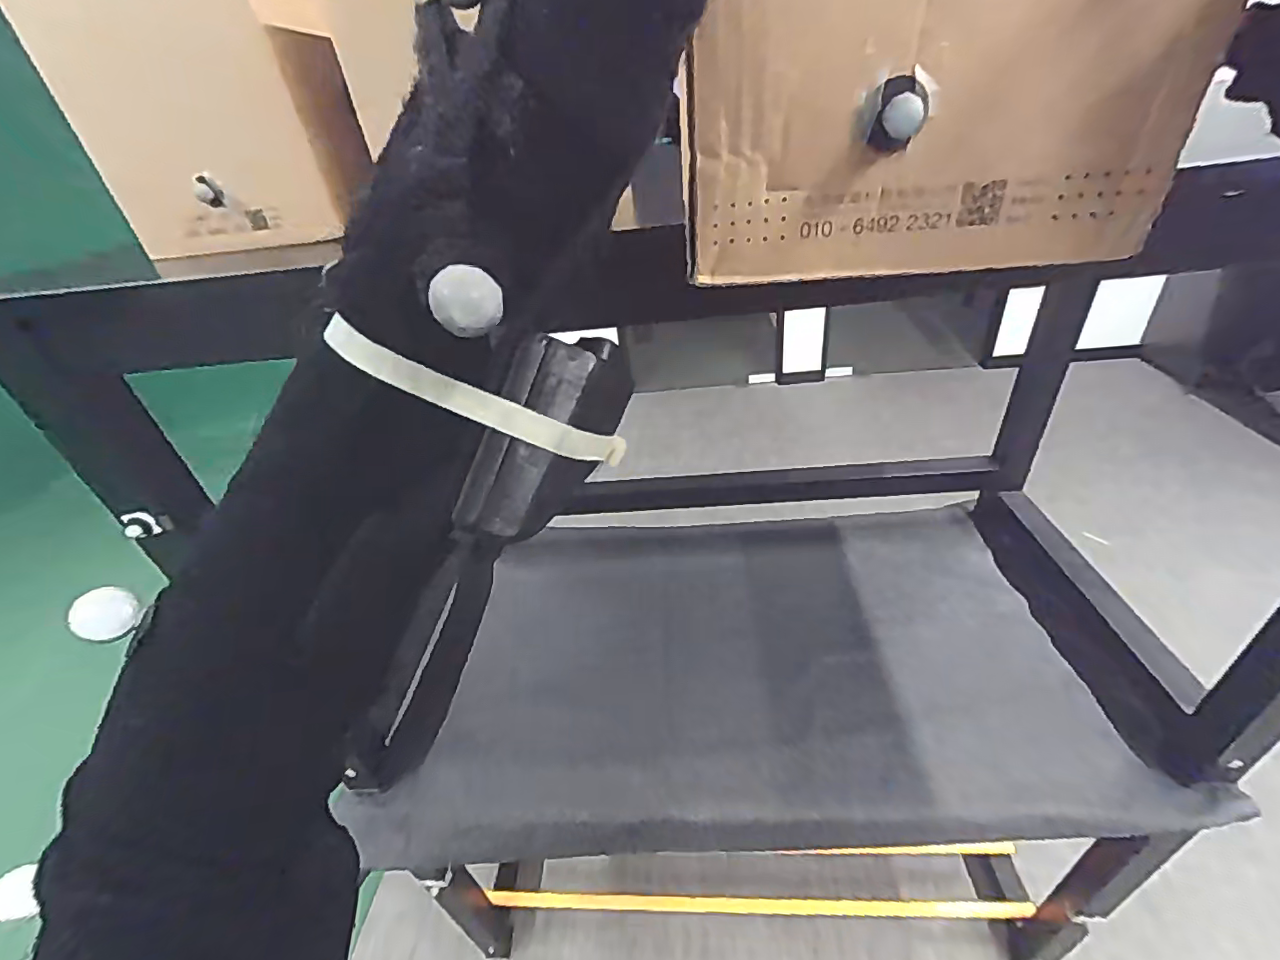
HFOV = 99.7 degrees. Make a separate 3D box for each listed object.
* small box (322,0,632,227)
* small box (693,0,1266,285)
[{"bbox_3d":[-0.100,-0.301,0.417,0.168,0.176,0.179,-2,35,7],"label":"small box"},{"bbox_3d":[0.106,-0.193,0.226,0.168,0.176,0.179,-2,39,5],"label":"small box"}]
